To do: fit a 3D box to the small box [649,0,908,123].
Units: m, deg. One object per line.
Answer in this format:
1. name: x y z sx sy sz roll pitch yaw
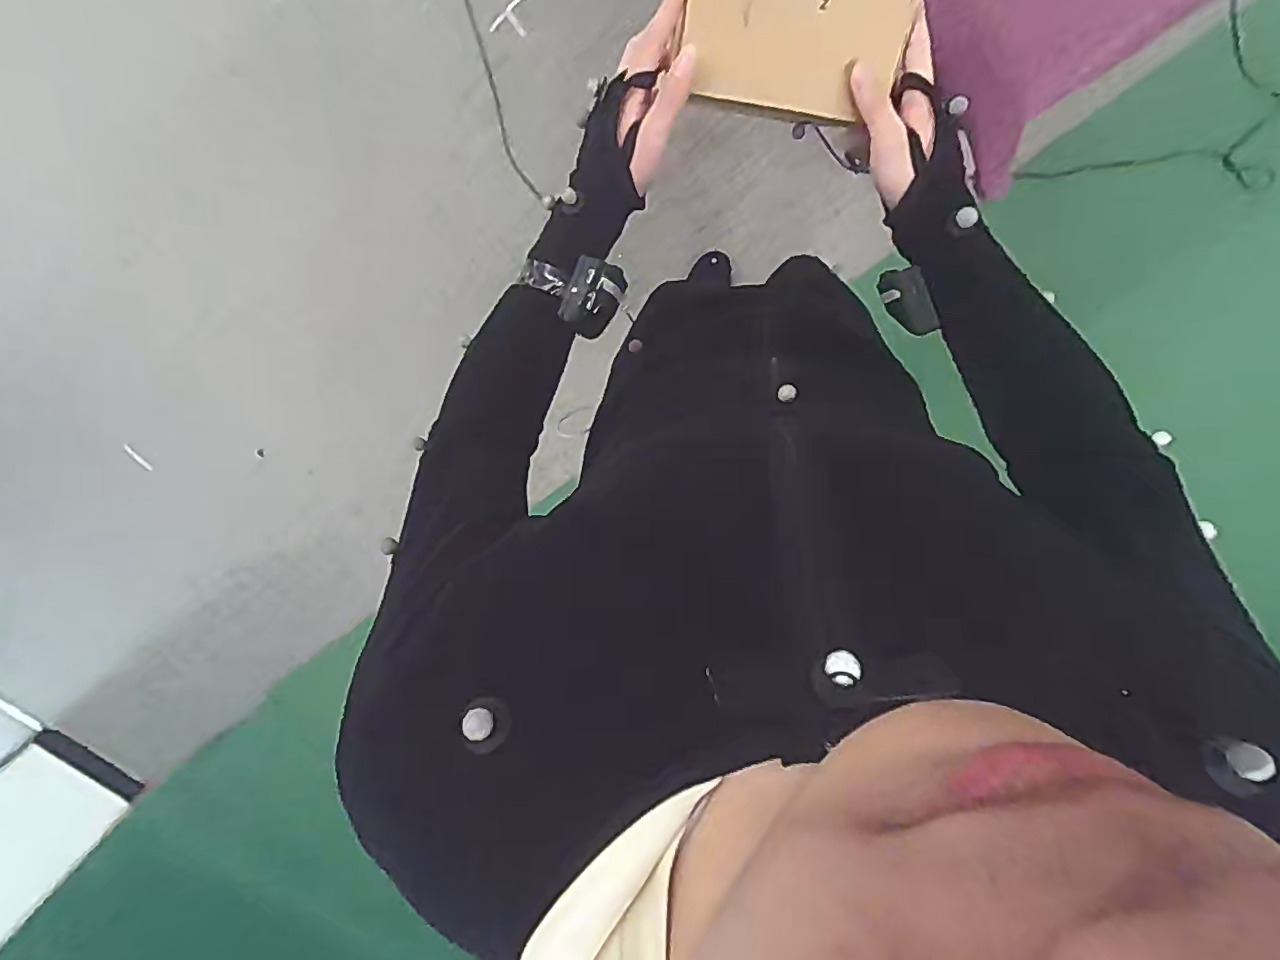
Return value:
1. small box: 0.110 -0.412 0.457 0.179 0.176 0.168 4 122 -7
